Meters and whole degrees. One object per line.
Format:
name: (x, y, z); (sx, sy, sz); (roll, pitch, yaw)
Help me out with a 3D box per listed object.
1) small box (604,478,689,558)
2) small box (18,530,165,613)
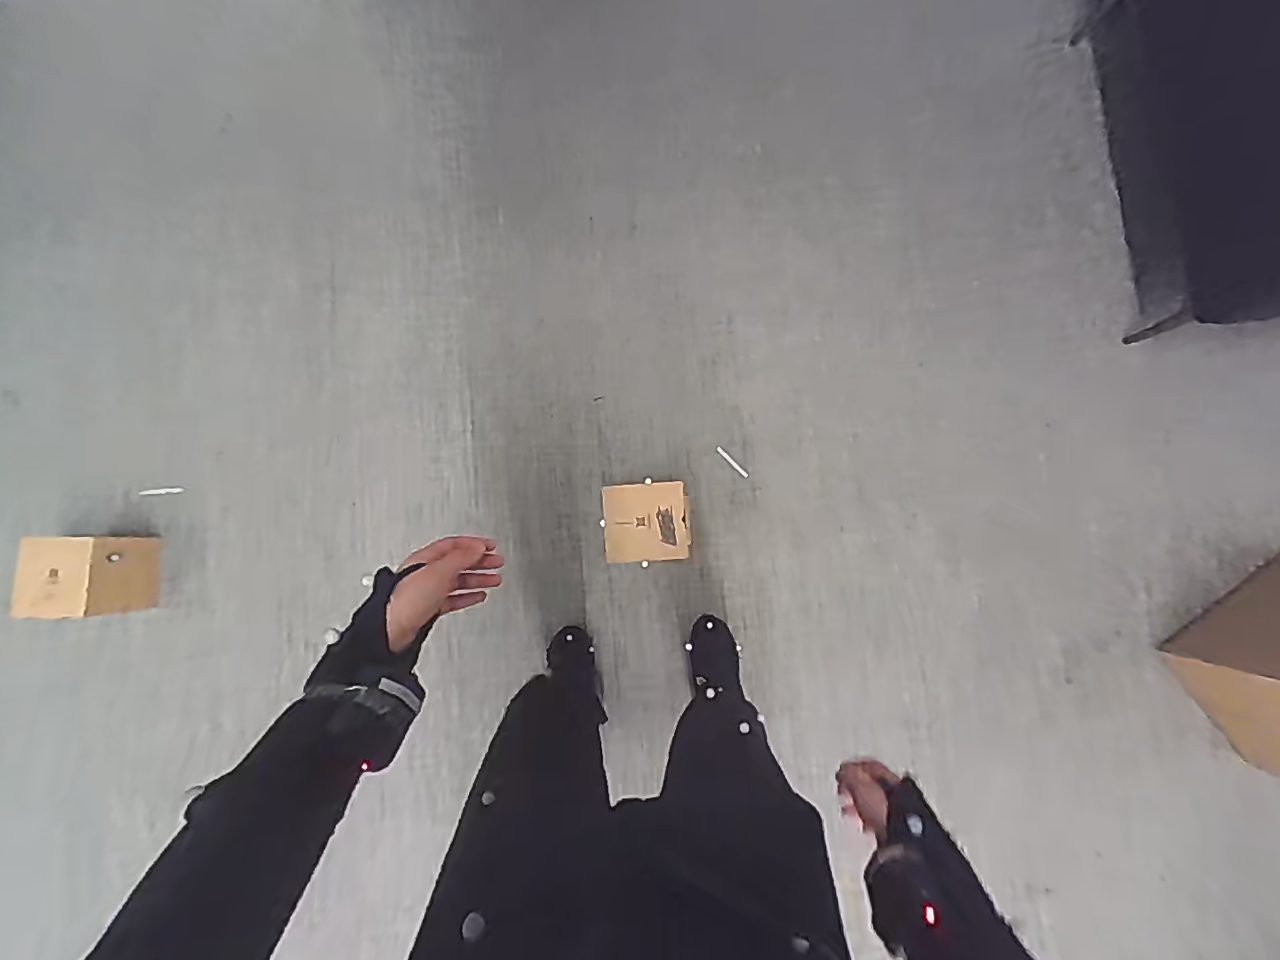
small box: (0.014, 0.086, 1.229); (0.179, 0.176, 0.168); (-4, 84, 2)
small box: (-1.251, 0.207, 1.248); (0.168, 0.176, 0.179); (1, 85, 2)
